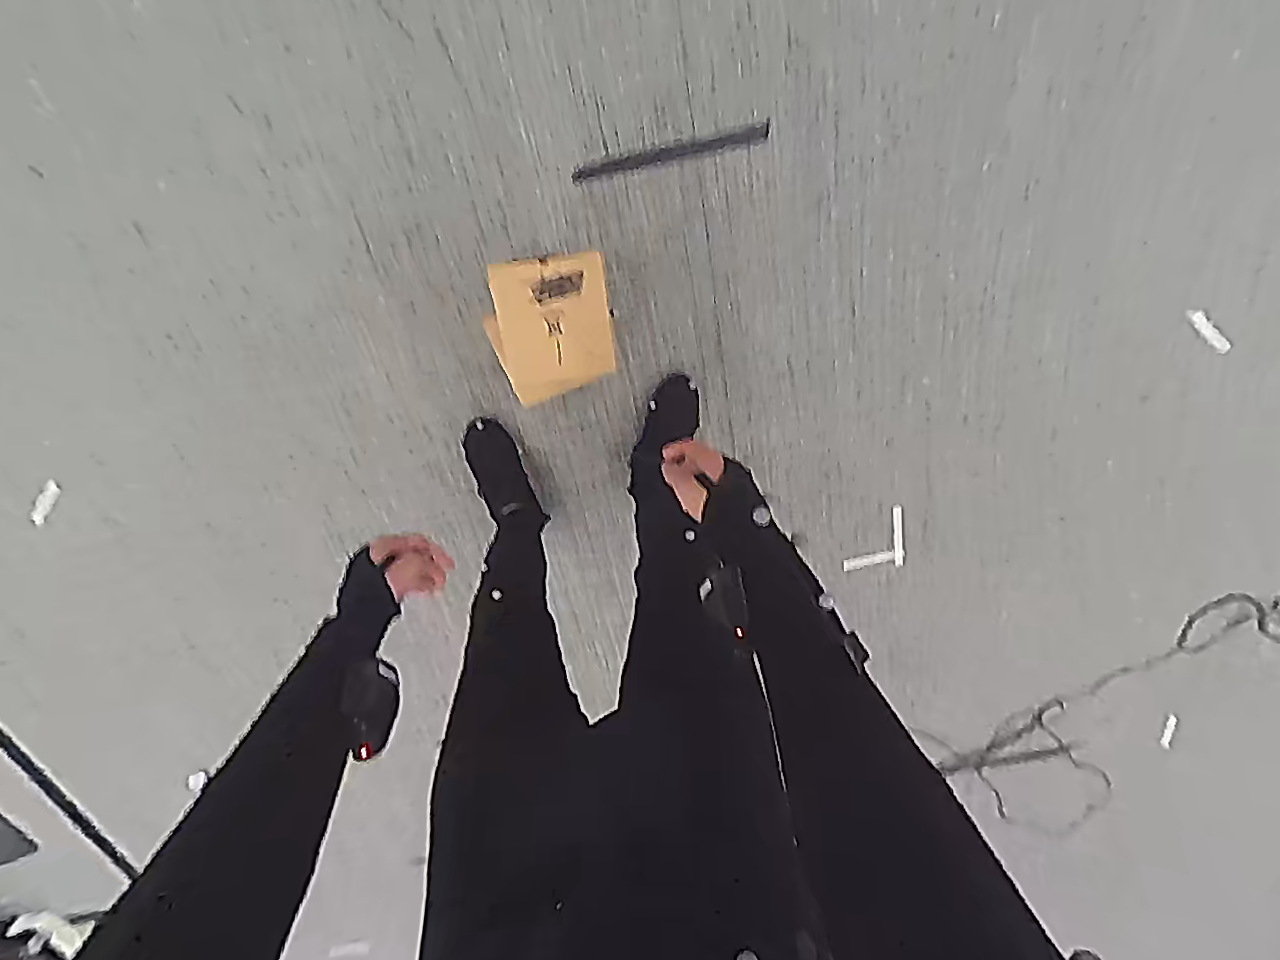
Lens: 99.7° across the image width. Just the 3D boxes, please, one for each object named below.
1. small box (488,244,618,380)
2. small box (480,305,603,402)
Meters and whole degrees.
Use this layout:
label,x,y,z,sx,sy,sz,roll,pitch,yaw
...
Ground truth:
label,x,y,z,sx,sy,sz,roll,pitch,yaw
small box,-0.128,-0.270,0.858,0.168,0.176,0.179,-7,114,1
small box,-0.178,-0.274,1.033,0.168,0.176,0.179,-21,114,6
